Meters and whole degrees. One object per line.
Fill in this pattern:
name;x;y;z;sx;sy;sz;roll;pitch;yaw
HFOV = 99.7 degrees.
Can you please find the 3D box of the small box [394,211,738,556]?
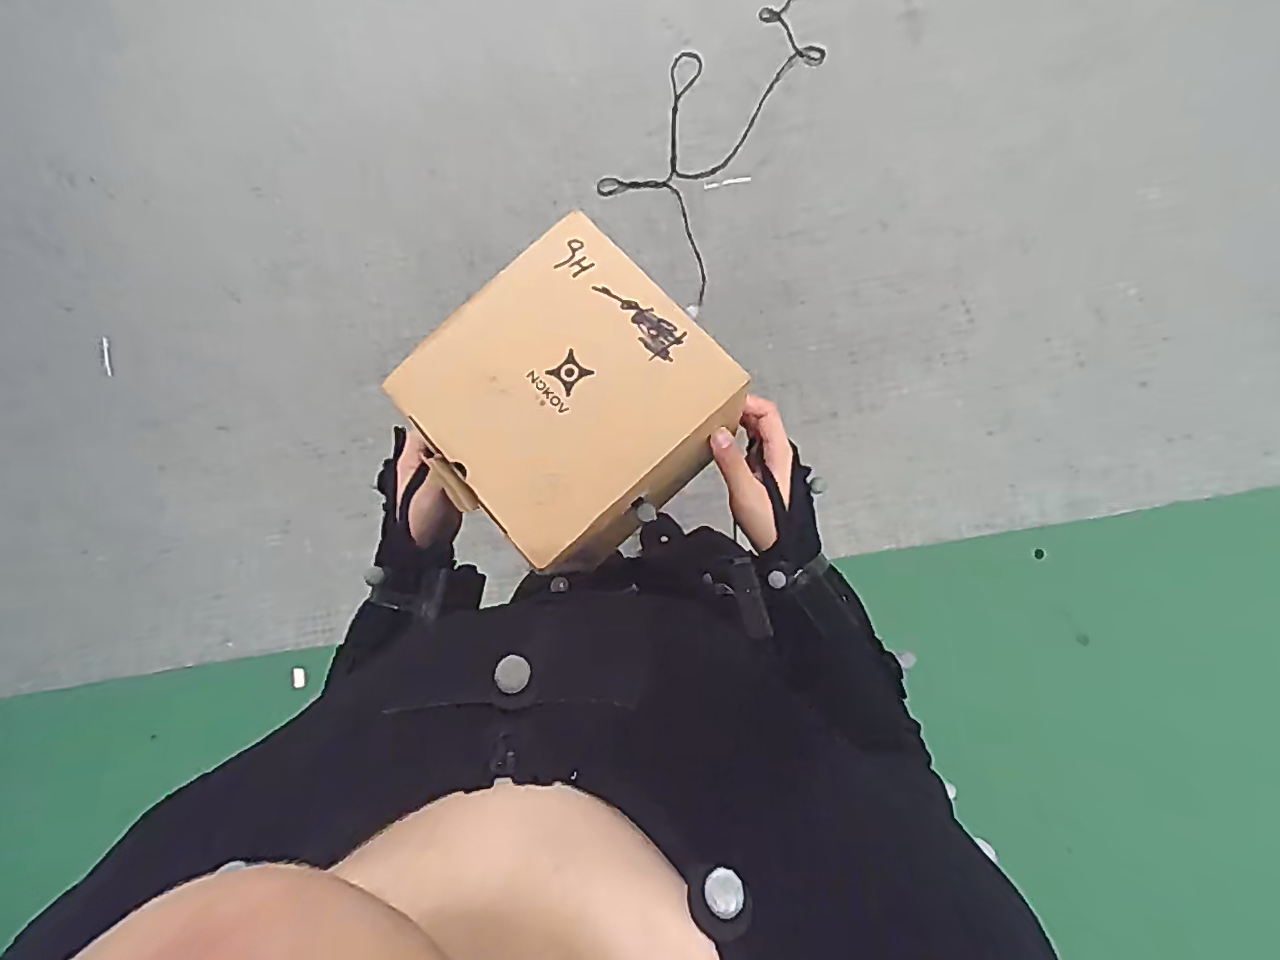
small box;-0.041;-0.055;0.426;0.179;0.176;0.168;-43;79;0
